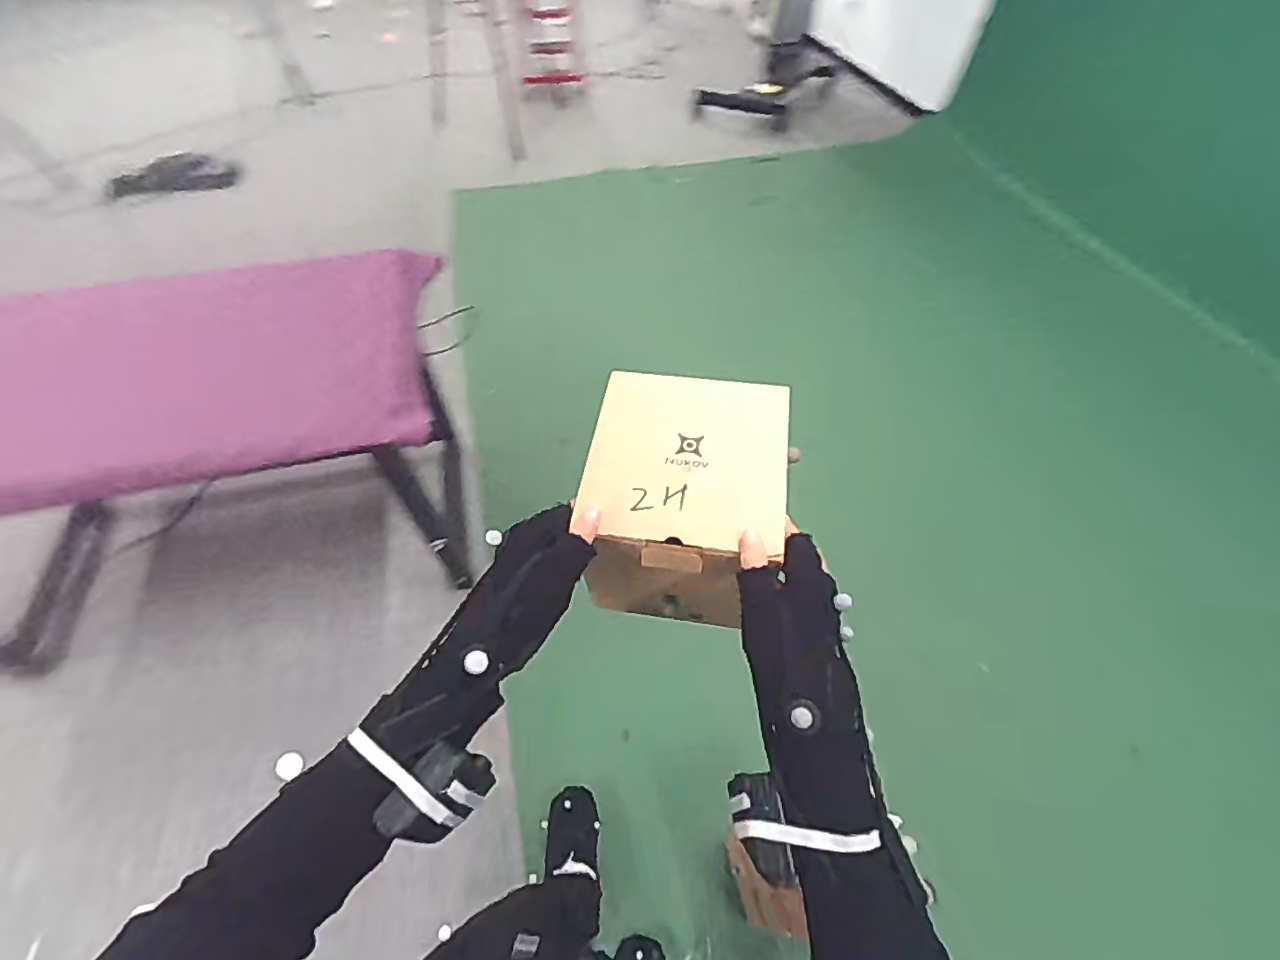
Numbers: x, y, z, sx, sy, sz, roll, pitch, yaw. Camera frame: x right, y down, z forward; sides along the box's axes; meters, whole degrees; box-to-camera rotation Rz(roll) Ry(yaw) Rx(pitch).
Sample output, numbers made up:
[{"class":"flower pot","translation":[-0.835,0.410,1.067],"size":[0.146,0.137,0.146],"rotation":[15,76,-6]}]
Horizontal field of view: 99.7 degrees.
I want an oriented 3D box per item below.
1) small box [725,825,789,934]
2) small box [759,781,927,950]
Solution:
[{"class":"small box","translation":[0.290,0.810,1.122],"size":[0.179,0.176,0.168],"rotation":[-11,54,-8]},{"class":"small box","translation":[0.303,0.609,0.861],"size":[0.179,0.176,0.168],"rotation":[-15,55,-12]}]
